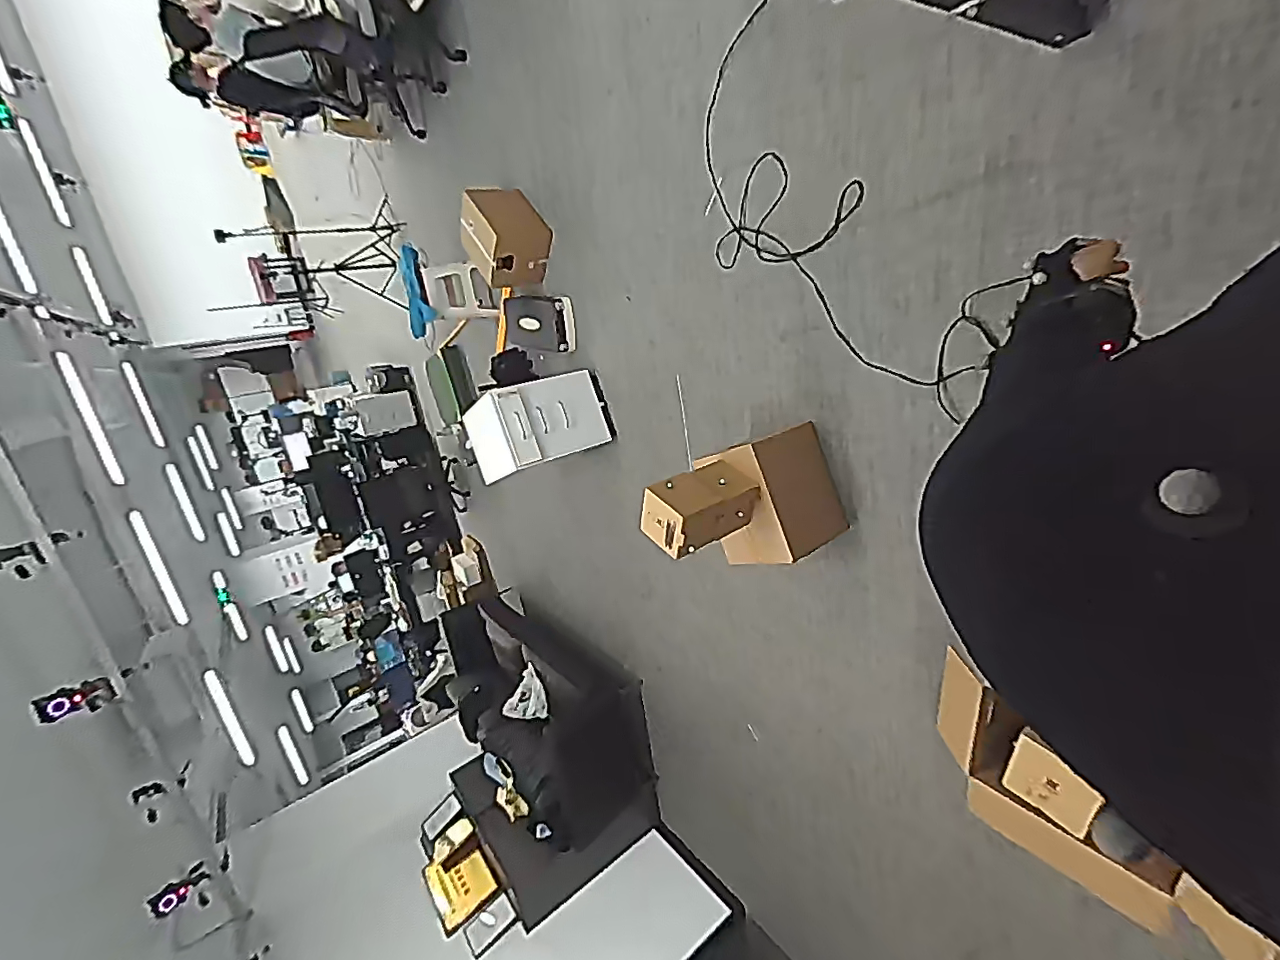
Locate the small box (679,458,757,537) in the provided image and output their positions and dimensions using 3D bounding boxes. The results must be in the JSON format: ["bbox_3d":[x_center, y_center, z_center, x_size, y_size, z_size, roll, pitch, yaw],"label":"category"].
[{"bbox_3d":[0.254,0.049,1.759,0.179,0.176,0.168,37,135,37],"label":"small box"}]

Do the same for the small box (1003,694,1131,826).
[{"bbox_3d":[0.984,0.634,1.246,0.168,0.176,0.179,30,131,49],"label":"small box"}]
